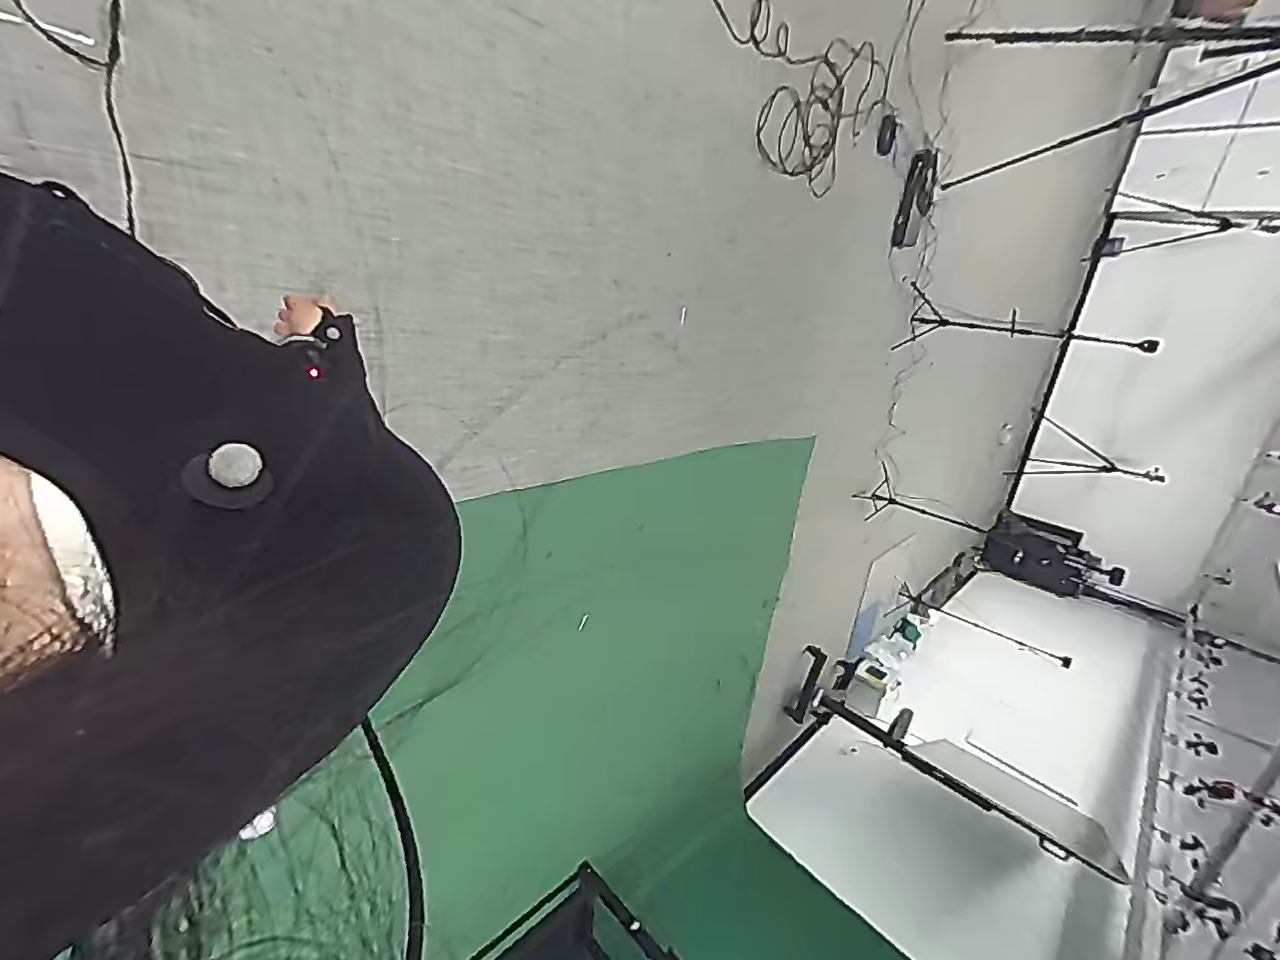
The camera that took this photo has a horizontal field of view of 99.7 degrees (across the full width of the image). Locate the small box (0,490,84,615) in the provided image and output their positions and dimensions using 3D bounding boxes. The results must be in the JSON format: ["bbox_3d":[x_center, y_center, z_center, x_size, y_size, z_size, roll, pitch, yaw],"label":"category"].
[{"bbox_3d":[-1.127,0.128,0.961,0.179,0.176,0.168,-12,116,-44],"label":"small box"}]
